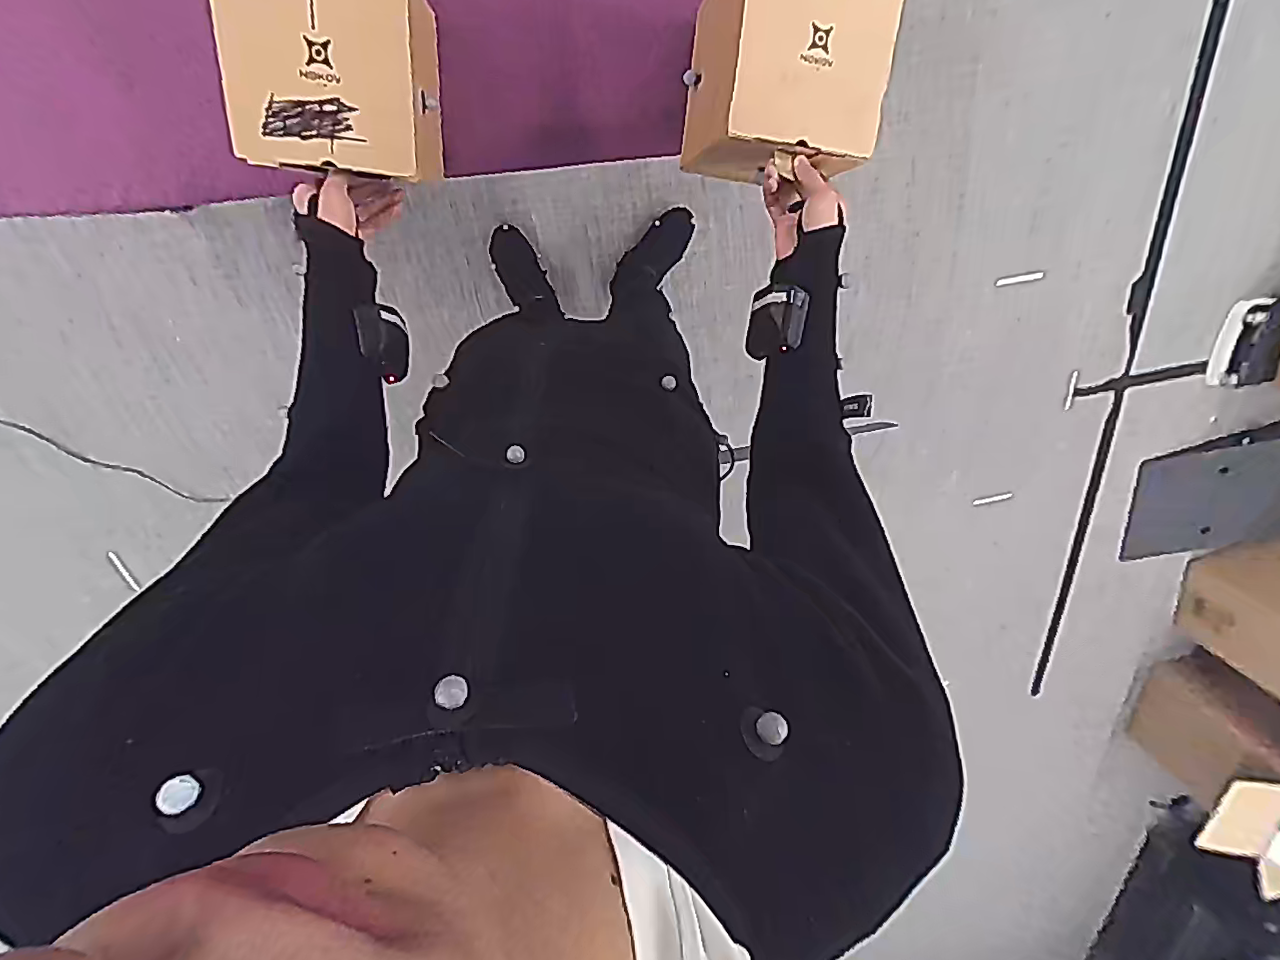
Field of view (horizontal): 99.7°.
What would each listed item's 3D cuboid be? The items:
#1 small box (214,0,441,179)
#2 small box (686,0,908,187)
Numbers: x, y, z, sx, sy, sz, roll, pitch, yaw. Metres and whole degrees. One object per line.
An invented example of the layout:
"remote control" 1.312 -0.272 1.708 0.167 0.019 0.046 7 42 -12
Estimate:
"small box" -0.310 -0.429 0.573 0.168 0.176 0.179 1 116 -12
"small box" 0.157 -0.445 0.600 0.168 0.176 0.179 3 107 -14
